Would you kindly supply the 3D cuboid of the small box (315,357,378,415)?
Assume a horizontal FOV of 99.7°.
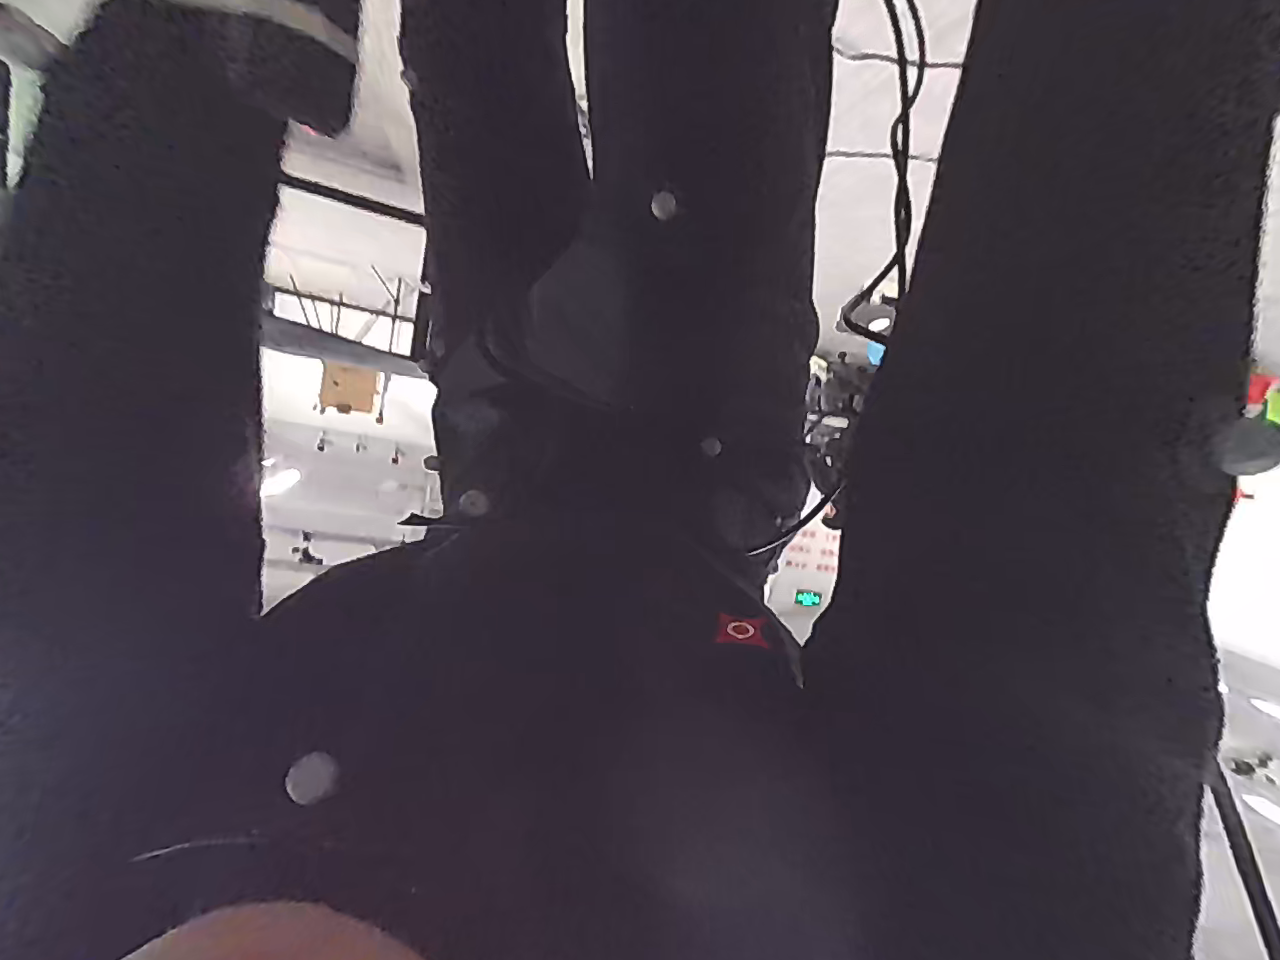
[{"bbox_3d":[-1.035,-0.336,1.915,0.168,0.176,0.179,11,-170,-23],"label":"small box"}]
